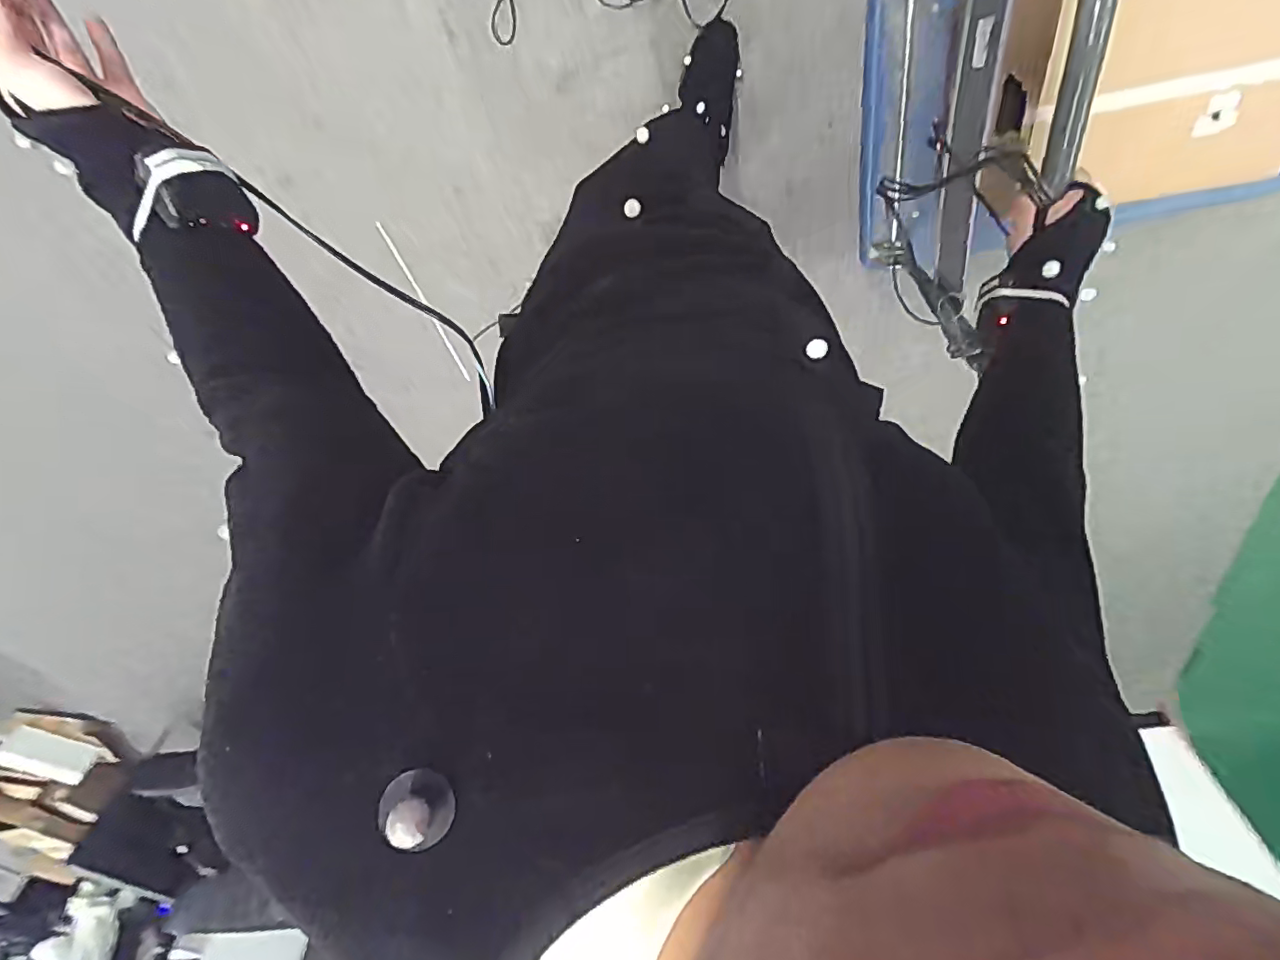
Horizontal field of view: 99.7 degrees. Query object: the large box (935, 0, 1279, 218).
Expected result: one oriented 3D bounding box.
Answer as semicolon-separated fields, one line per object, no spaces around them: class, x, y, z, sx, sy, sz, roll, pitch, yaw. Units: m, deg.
large box;0.784;-0.681;0.918;0.408;0.320;0.320;-7;129;7
